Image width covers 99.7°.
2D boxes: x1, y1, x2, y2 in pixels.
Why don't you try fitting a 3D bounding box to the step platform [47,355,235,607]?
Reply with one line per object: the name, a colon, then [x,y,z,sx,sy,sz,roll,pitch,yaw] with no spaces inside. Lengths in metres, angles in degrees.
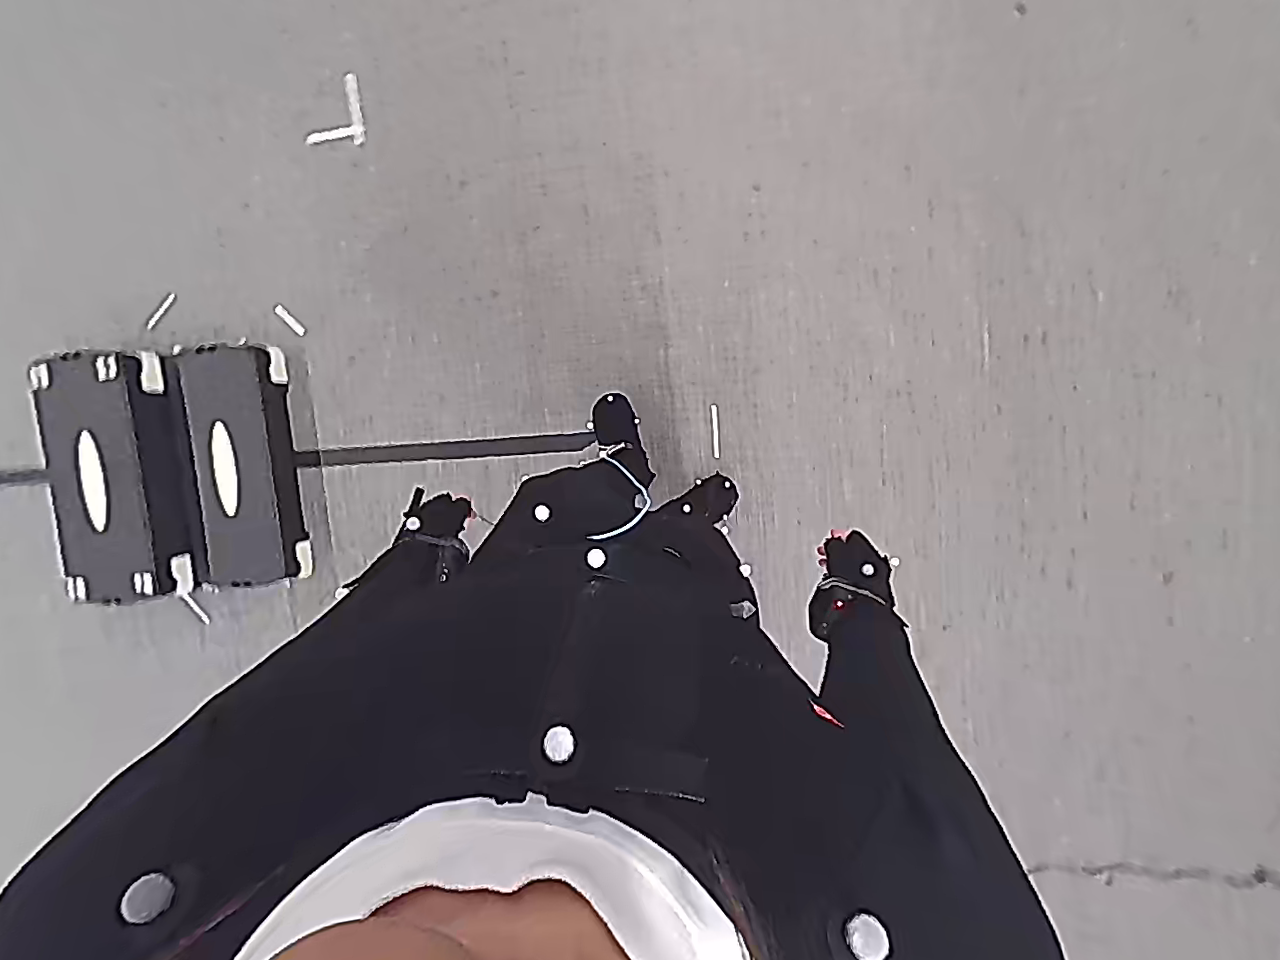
step platform: [-1.372,0.003,1.498,0.286,0.204,0.684,-5,94,6]
